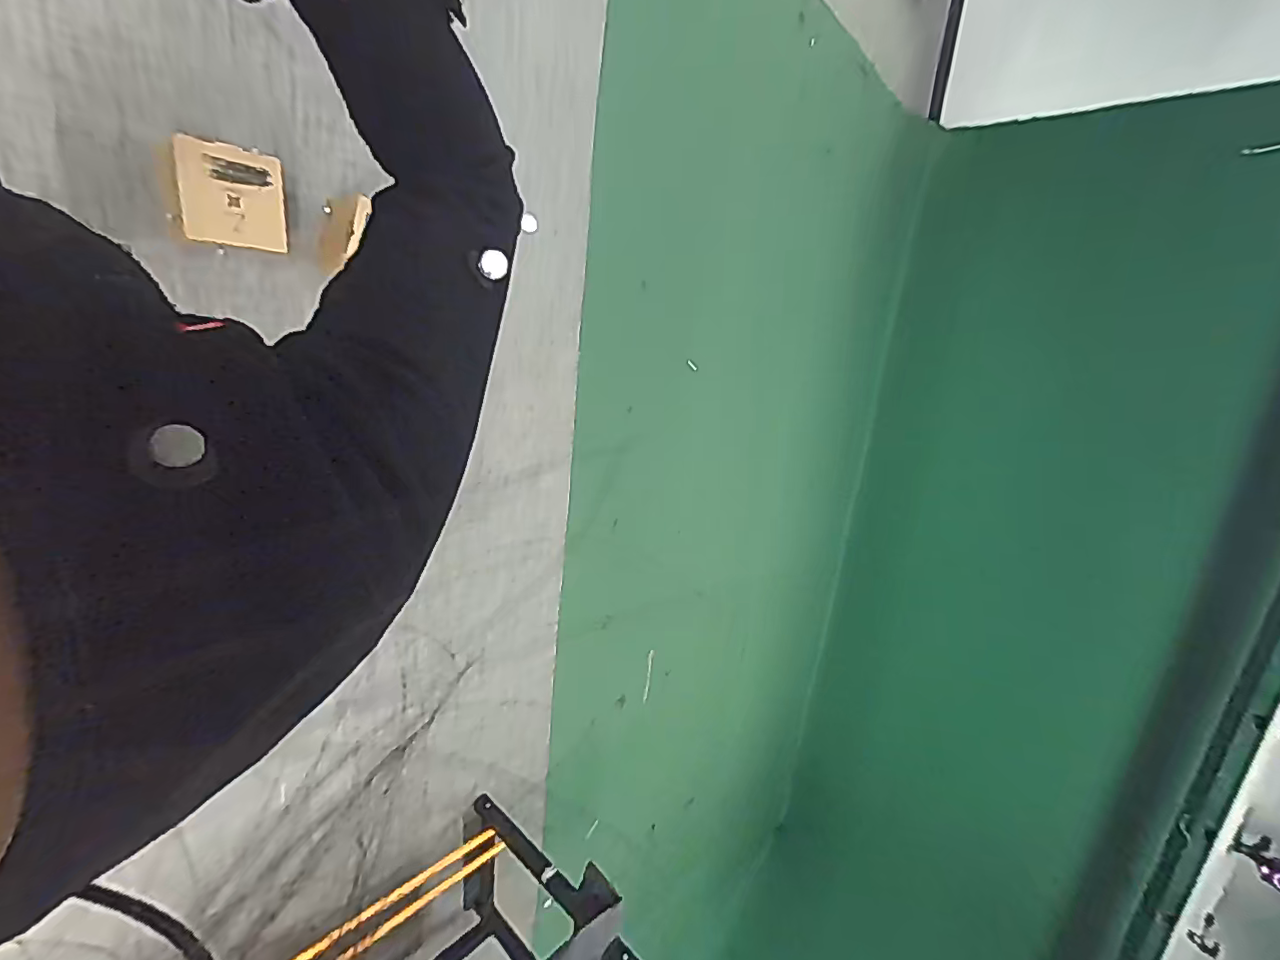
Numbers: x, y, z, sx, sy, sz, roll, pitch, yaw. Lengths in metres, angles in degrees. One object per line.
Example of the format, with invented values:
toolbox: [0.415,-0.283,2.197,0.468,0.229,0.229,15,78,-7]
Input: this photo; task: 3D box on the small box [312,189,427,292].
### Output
small box: [-0.649,-0.563,1.291,0.179,0.176,0.168,12,96,-53]
